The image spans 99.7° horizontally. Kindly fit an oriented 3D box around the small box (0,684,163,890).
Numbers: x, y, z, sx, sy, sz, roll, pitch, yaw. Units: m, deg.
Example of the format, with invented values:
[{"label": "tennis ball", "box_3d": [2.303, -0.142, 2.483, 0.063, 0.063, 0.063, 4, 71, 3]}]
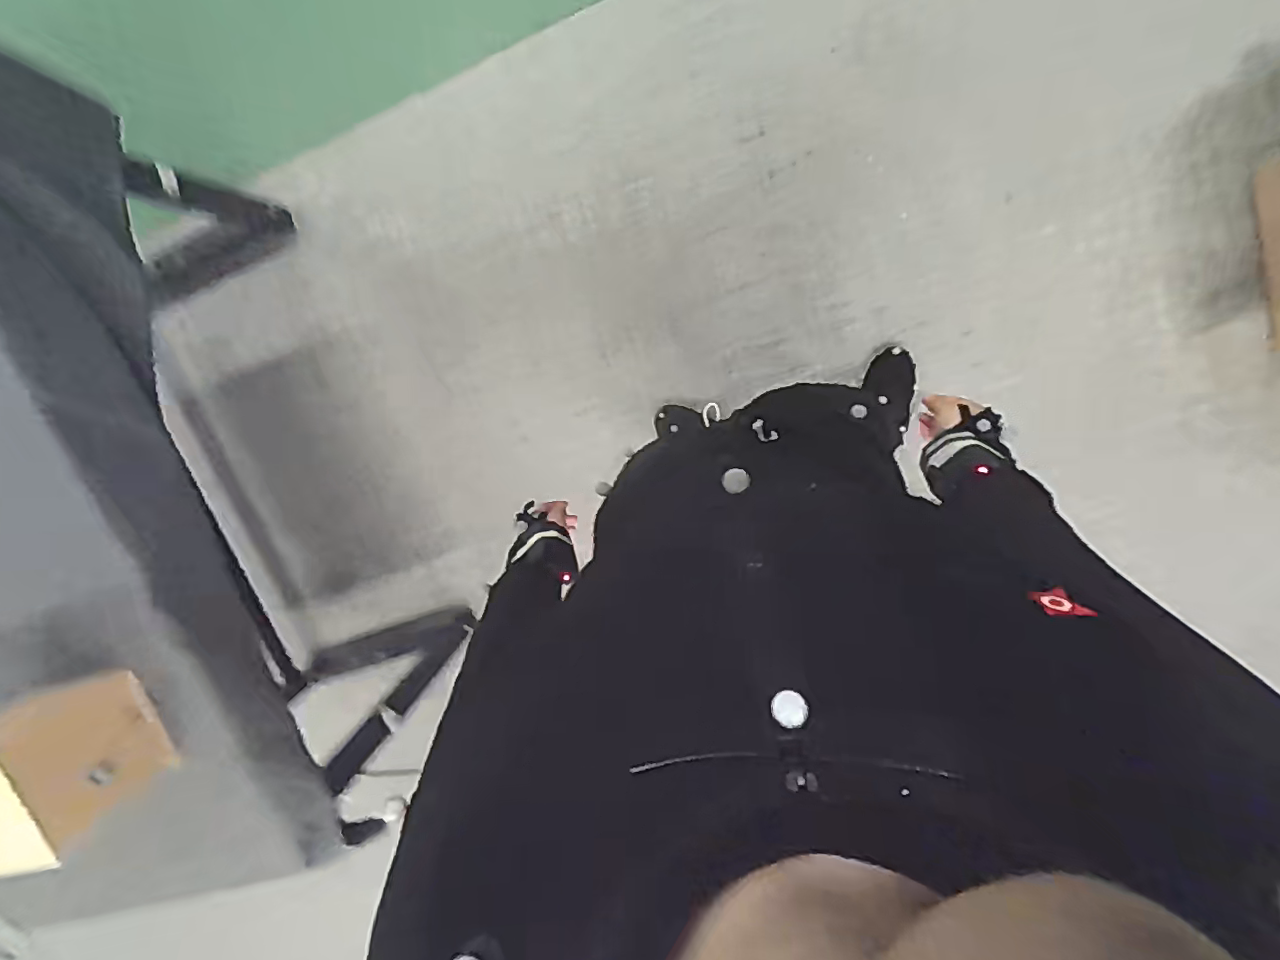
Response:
[{"label": "small box", "box_3d": [-0.784, 0.394, 0.707, 0.179, 0.176, 0.168, -17, 101, 11]}]
